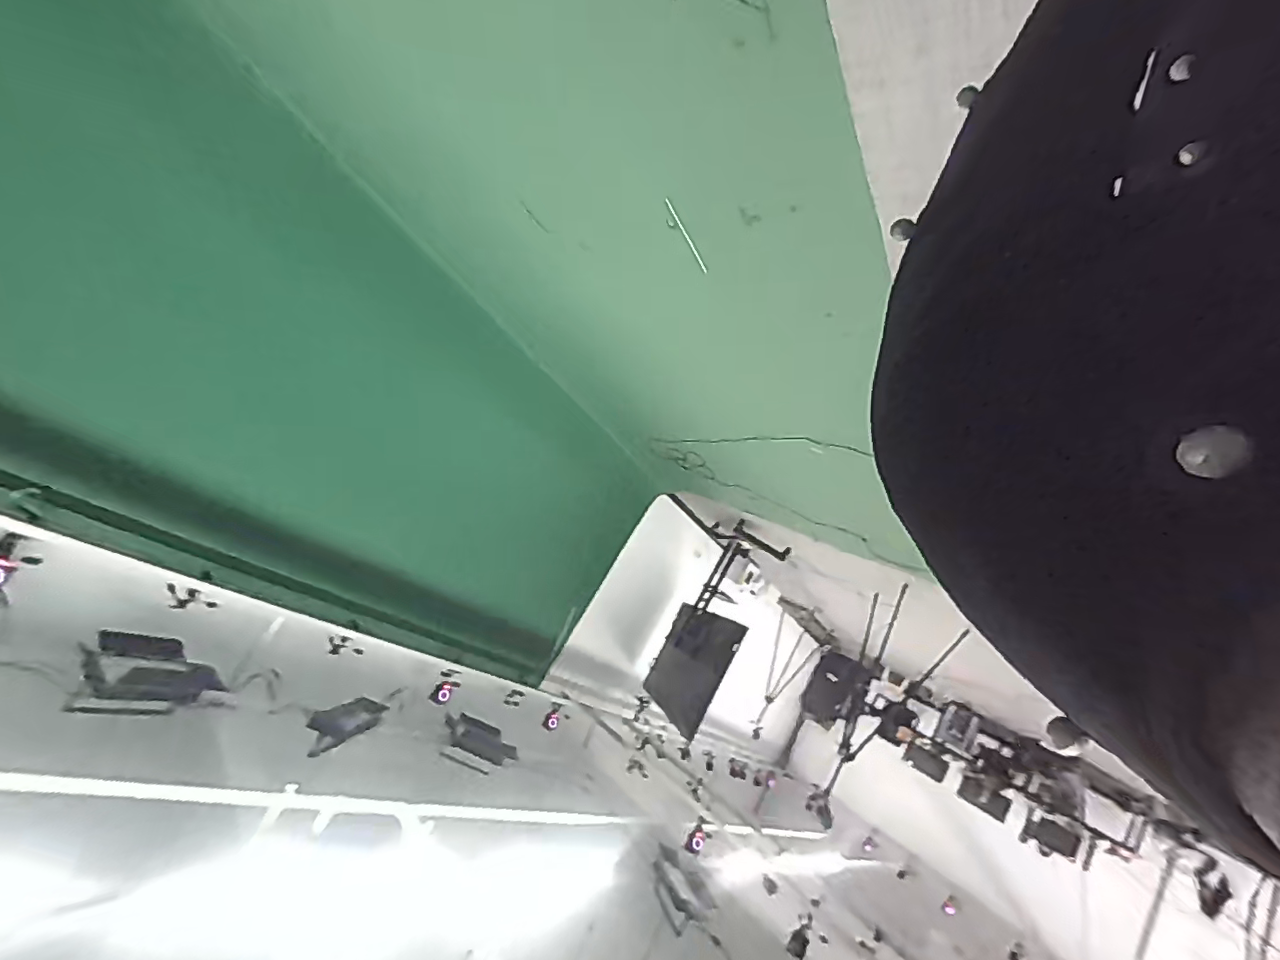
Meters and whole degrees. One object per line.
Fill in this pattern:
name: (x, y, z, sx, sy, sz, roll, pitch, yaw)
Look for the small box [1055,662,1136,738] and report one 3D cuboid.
small box: (1.552, 0.747, 1.845, 0.179, 0.176, 0.168, 19, 163, 43)
